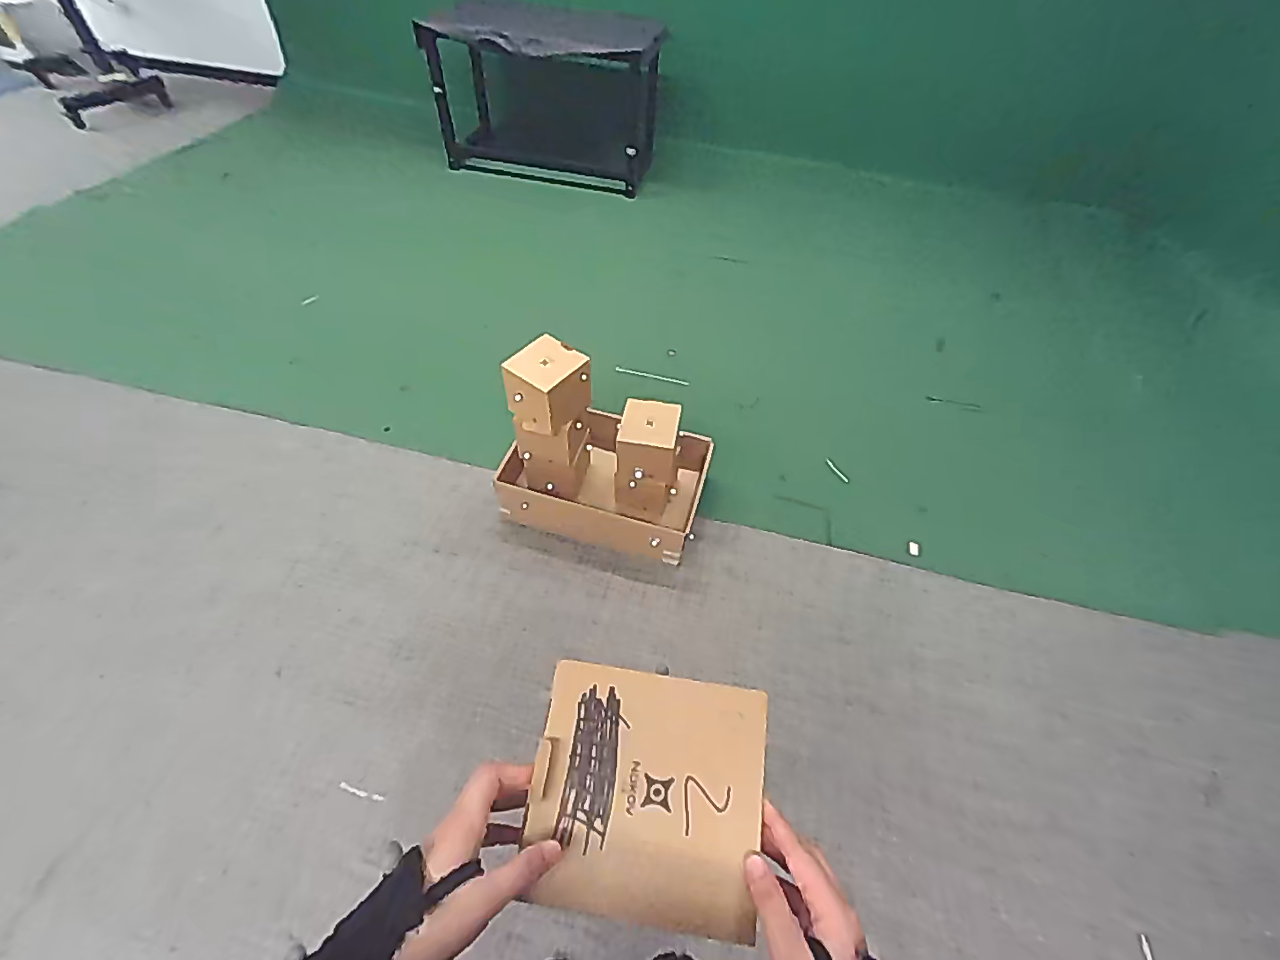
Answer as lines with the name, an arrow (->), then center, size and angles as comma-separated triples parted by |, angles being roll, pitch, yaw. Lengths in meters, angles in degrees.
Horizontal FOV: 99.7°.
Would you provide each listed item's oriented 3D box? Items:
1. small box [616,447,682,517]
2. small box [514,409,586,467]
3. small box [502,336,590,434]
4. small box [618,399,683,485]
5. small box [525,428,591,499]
small box -> 0.024, -0.012, 1.734 | 0.168, 0.176, 0.179 | 17, 53, 10
small box -> -0.260, -0.163, 1.621 | 0.168, 0.176, 0.179 | 14, 51, 6
small box -> -0.249, -0.259, 1.489 | 0.168, 0.176, 0.179 | 32, 55, 20
small box -> 0.030, -0.111, 1.605 | 0.168, 0.176, 0.179 | 8, 53, 5
small box -> -0.261, -0.068, 1.755 | 0.168, 0.176, 0.179 | 13, 52, 6
